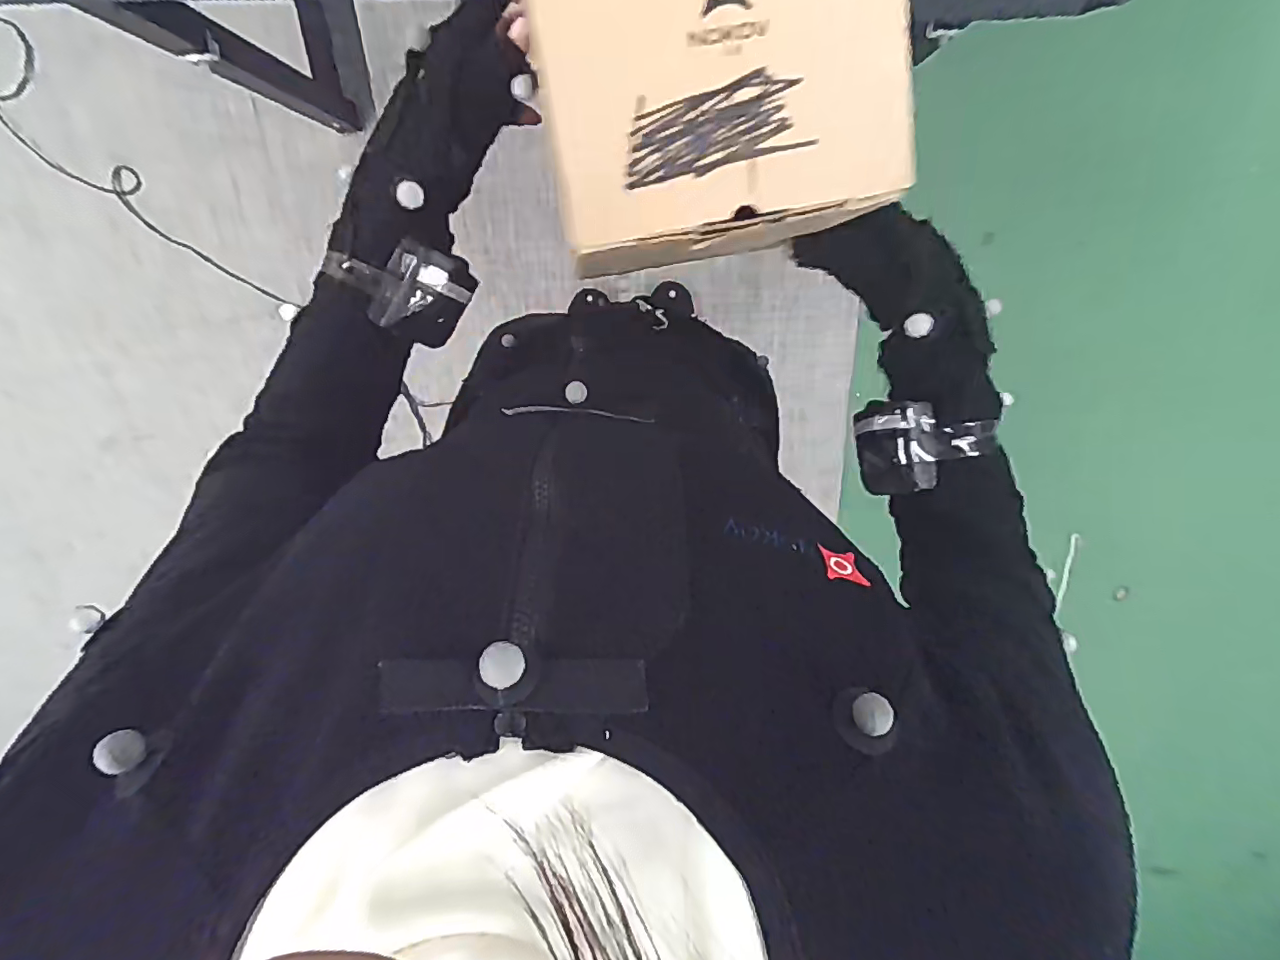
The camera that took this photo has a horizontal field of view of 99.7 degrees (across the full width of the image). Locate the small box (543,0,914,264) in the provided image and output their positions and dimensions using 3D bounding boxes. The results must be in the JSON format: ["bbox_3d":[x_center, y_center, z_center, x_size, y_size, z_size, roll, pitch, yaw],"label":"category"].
[{"bbox_3d":[0.035,-0.232,0.316,0.168,0.176,0.179,-11,106,-3],"label":"small box"}]
